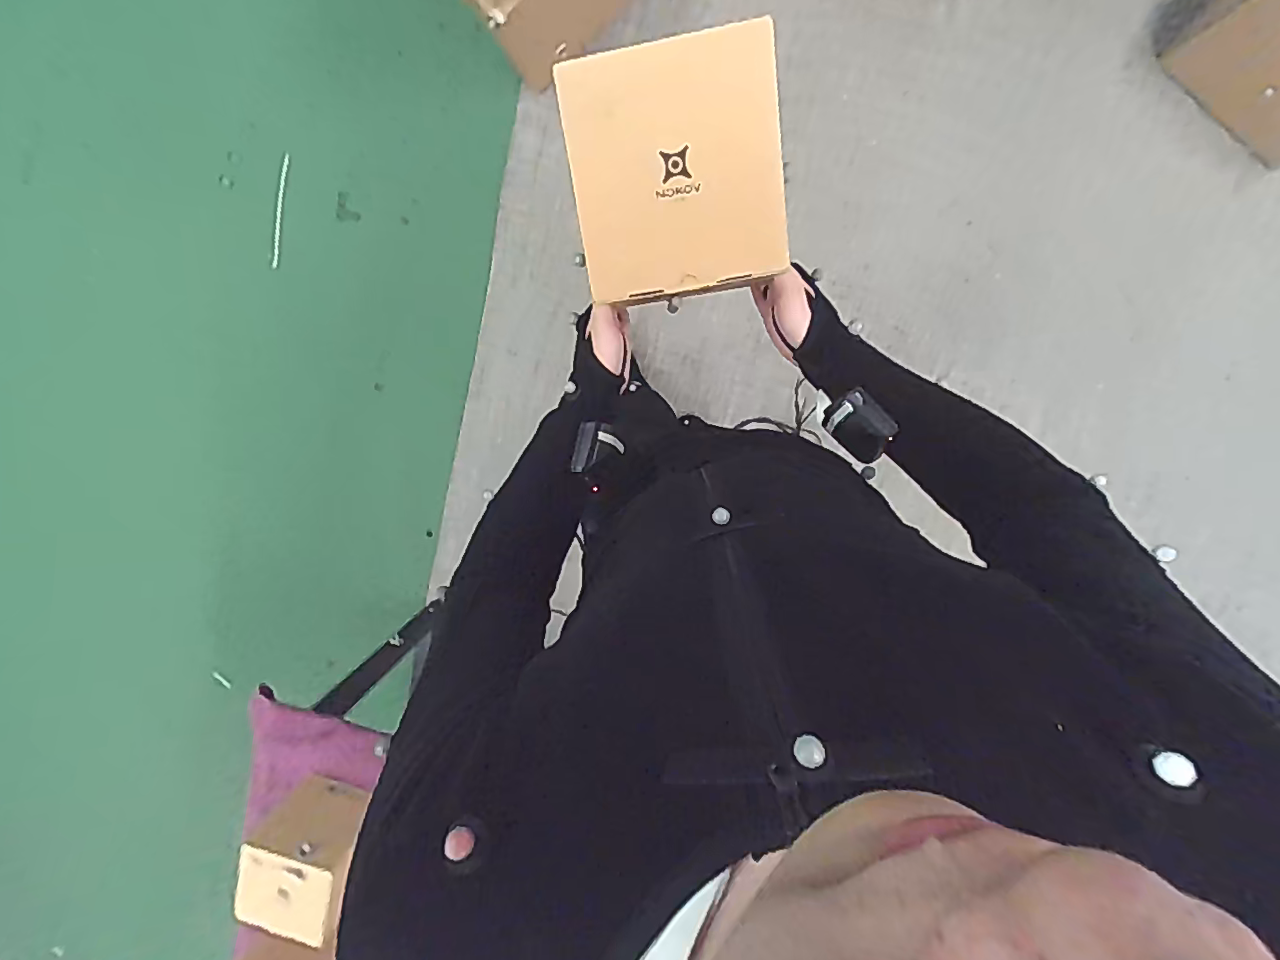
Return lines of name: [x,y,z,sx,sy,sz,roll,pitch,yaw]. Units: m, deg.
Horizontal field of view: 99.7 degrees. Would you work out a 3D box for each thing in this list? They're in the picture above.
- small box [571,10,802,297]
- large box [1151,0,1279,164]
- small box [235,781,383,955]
small box: [0.043,-0.269,0.493,0.168,0.176,0.179,-7,108,6]
large box: [1.473,-0.977,1.150,0.408,0.320,0.320,38,102,-1]
small box: [-0.601,0.706,0.998,0.168,0.176,0.179,16,104,1]
